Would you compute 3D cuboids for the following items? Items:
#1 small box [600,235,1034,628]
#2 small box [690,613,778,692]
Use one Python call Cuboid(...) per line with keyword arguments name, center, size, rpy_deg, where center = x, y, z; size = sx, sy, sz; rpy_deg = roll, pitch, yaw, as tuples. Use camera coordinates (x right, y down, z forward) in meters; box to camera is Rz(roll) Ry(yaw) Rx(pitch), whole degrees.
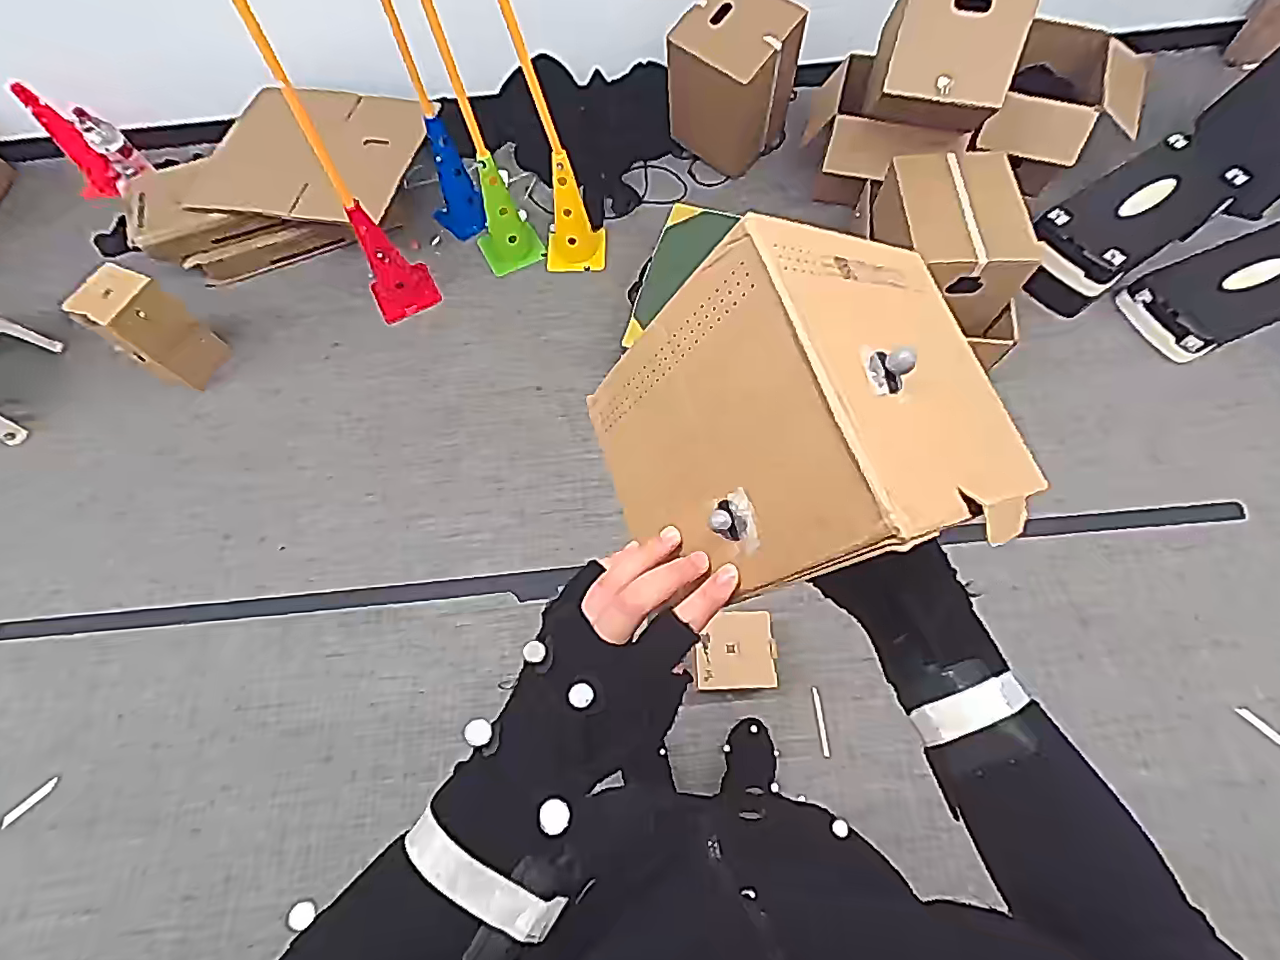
Cuboid(name="small box", center=(0.095, -0.024, 0.347), size=(0.168, 0.179, 0.176), rpy_deg=(-8, 72, -37))
Cuboid(name="small box", center=(0.215, 0.410, 1.283), size=(0.179, 0.176, 0.168), rpy_deg=(-1, 66, 0))
